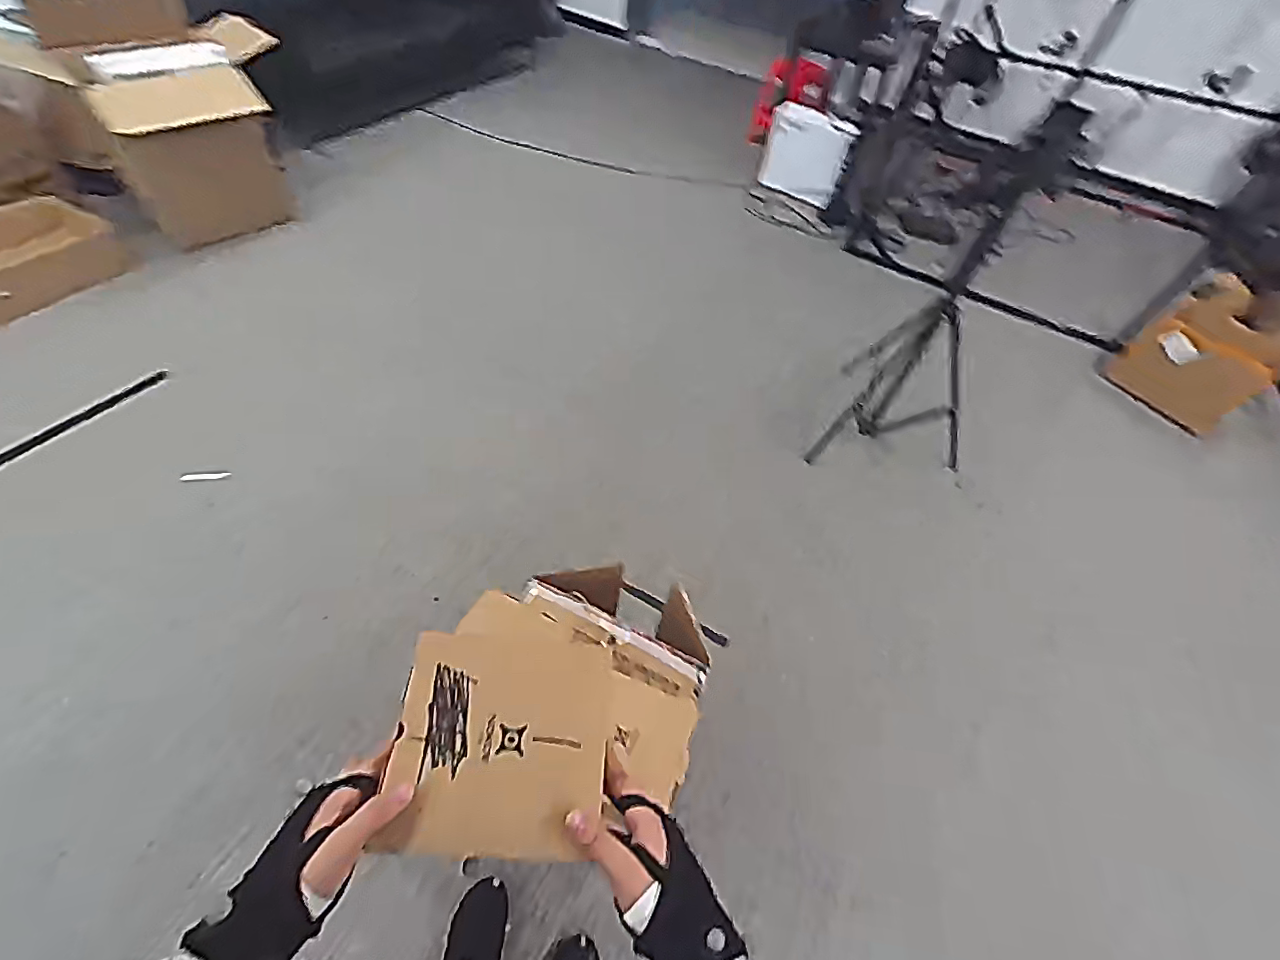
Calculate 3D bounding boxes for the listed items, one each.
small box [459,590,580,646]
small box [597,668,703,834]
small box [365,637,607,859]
[{"bbox_3d":[-0.212,0.320,0.898,0.168,0.176,0.179,23,57,13],"label":"small box"},{"bbox_3d":[-0.022,0.424,0.844,0.179,0.176,0.168,22,56,9],"label":"small box"},{"bbox_3d":[-0.128,0.261,0.521,0.179,0.176,0.168,5,57,-6],"label":"small box"}]
